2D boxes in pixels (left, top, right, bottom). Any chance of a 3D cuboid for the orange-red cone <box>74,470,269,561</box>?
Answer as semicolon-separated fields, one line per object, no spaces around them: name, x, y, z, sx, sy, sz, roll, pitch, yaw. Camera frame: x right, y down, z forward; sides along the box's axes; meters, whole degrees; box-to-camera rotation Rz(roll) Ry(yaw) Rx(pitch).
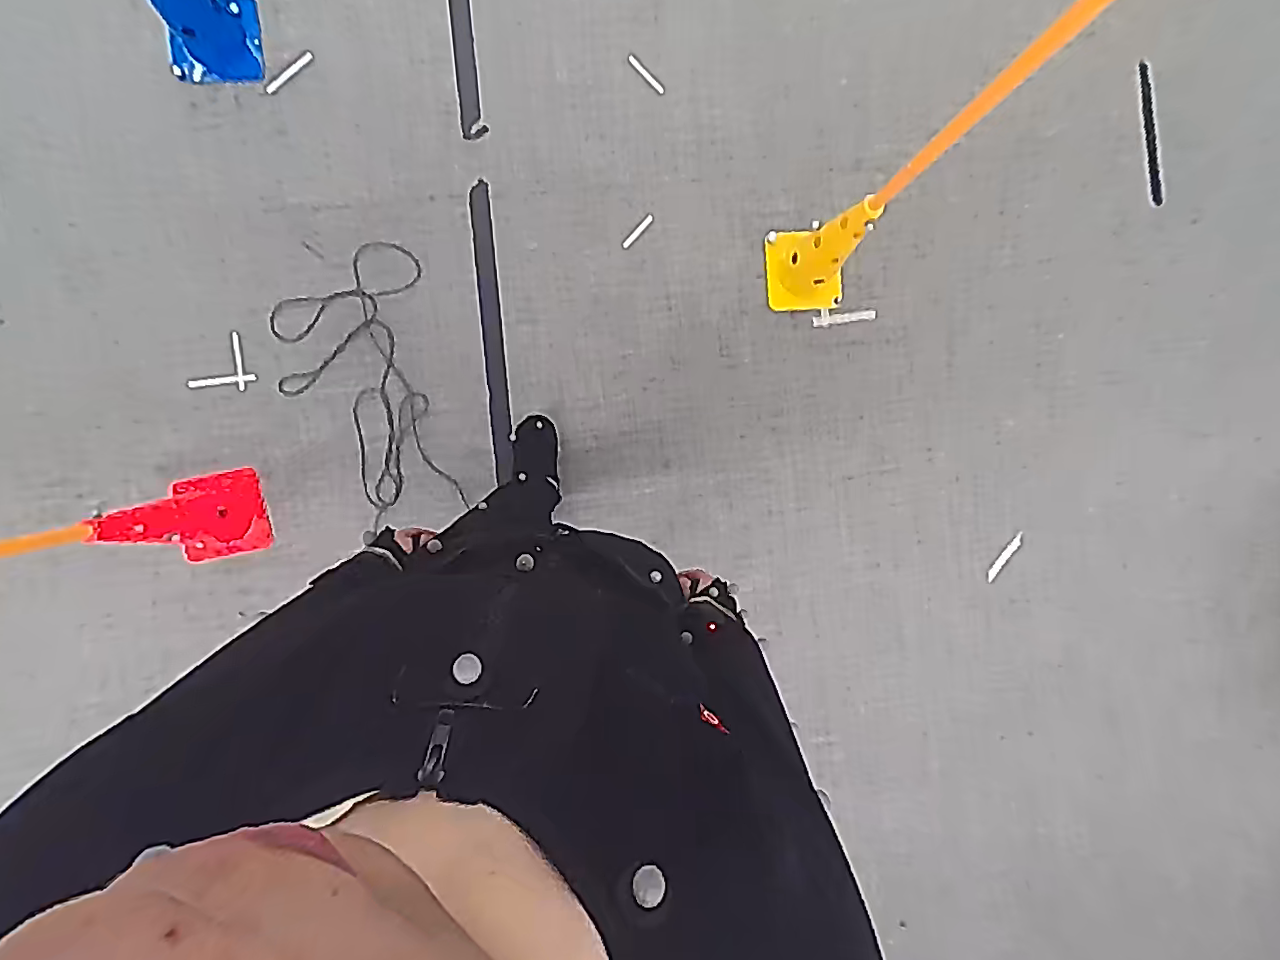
orange-red cone;-0.977;0.087;1.109;0.199;0.360;0.198;-11;92;-6

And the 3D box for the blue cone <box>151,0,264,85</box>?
blue cone;-0.976;-1.024;1.106;0.193;0.380;0.192;-3;92;-5
